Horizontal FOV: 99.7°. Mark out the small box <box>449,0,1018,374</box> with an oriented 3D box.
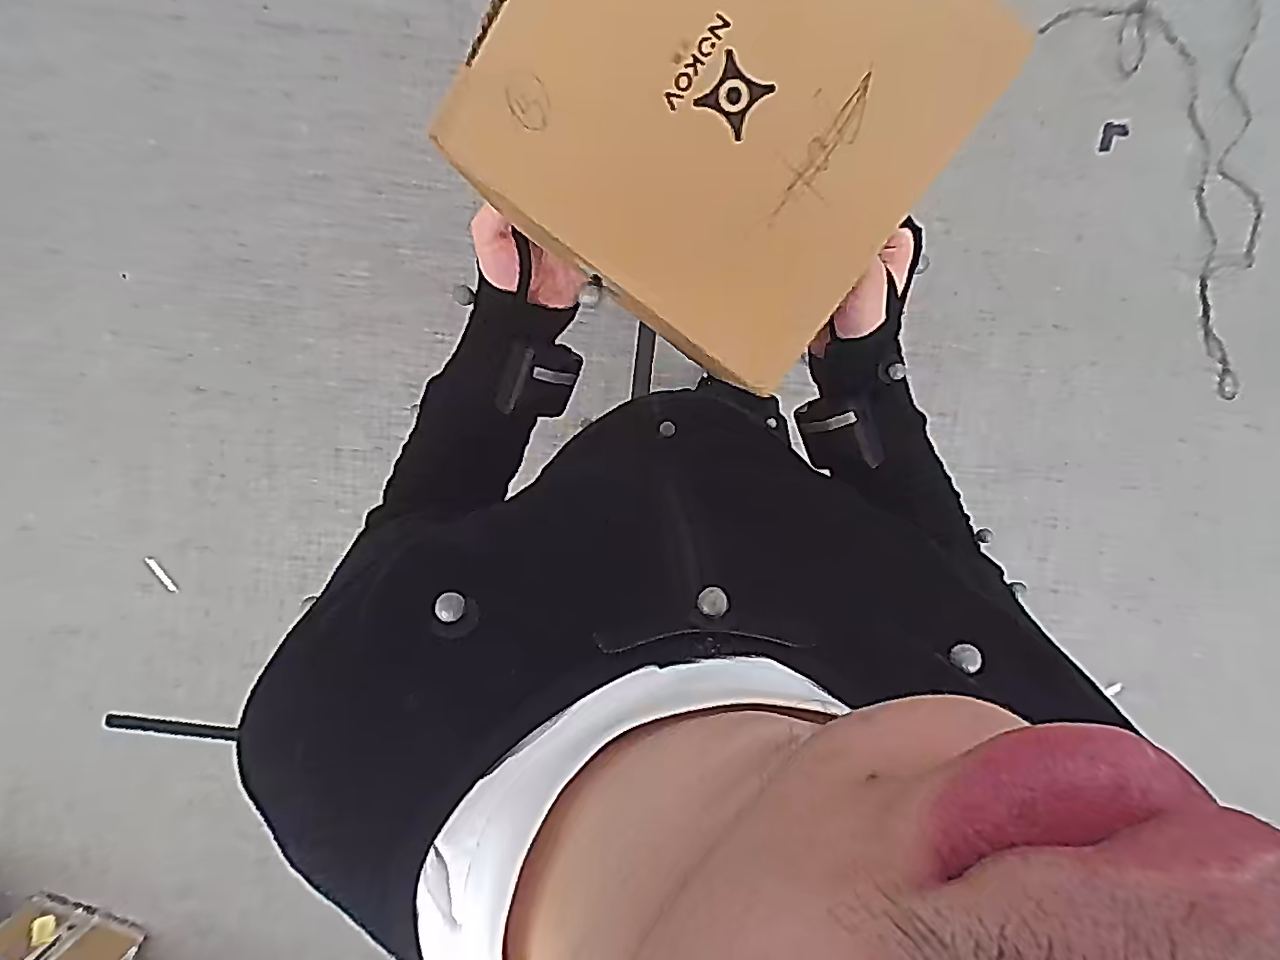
[{"bbox_3d":[0.036,-0.175,0.297,0.179,0.176,0.168,34,102,-8],"label":"small box"}]
